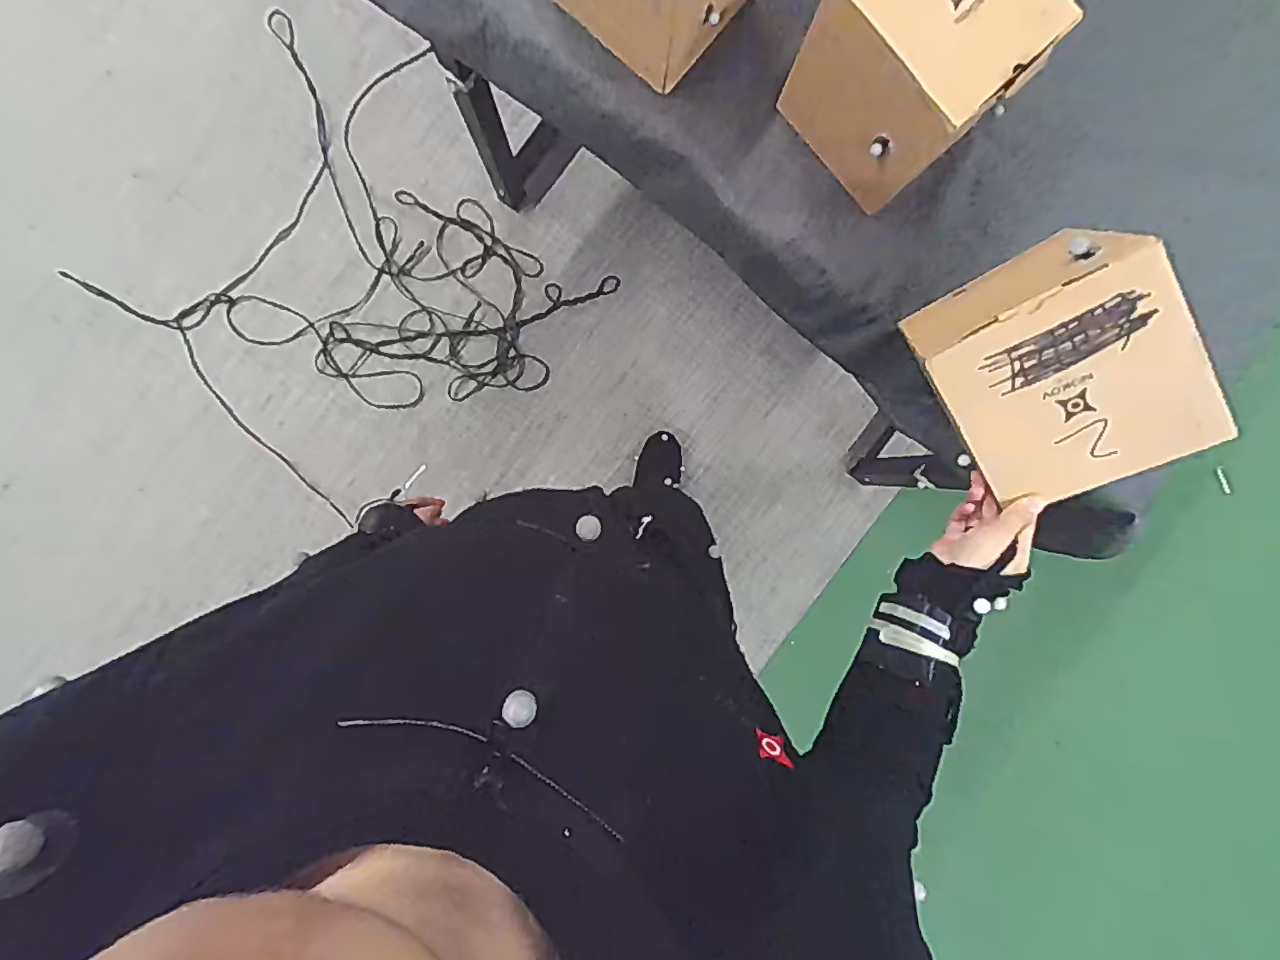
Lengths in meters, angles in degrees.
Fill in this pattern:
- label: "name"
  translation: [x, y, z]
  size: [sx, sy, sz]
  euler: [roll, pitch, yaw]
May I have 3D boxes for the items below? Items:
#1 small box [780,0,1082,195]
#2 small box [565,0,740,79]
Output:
- label: "small box"
  translation: [0.279, -0.433, 0.559]
  size: [0.168, 0.176, 0.179]
  euler: [-42, 91, -2]
- label: "small box"
  translation: [0.015, -0.569, 0.545]
  size: [0.179, 0.176, 0.168]
  euler: [39, 88, -3]
